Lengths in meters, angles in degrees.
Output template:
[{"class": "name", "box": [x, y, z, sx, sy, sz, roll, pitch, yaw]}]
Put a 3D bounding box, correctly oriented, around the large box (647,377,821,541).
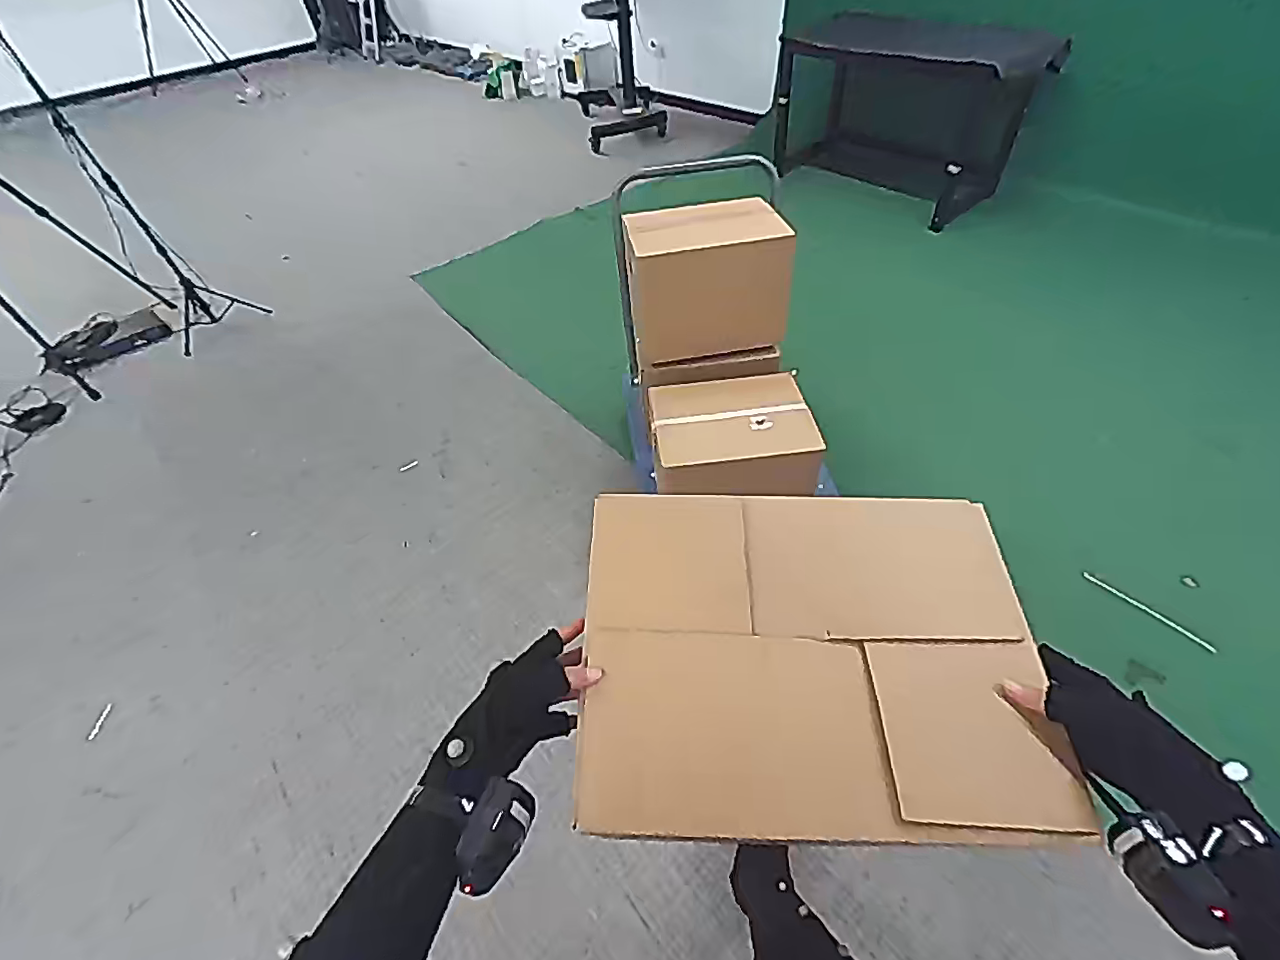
[{"class": "large box", "box": [0.239, -0.057, 1.519, 0.408, 0.320, 0.320, -6, 47, -1]}]
